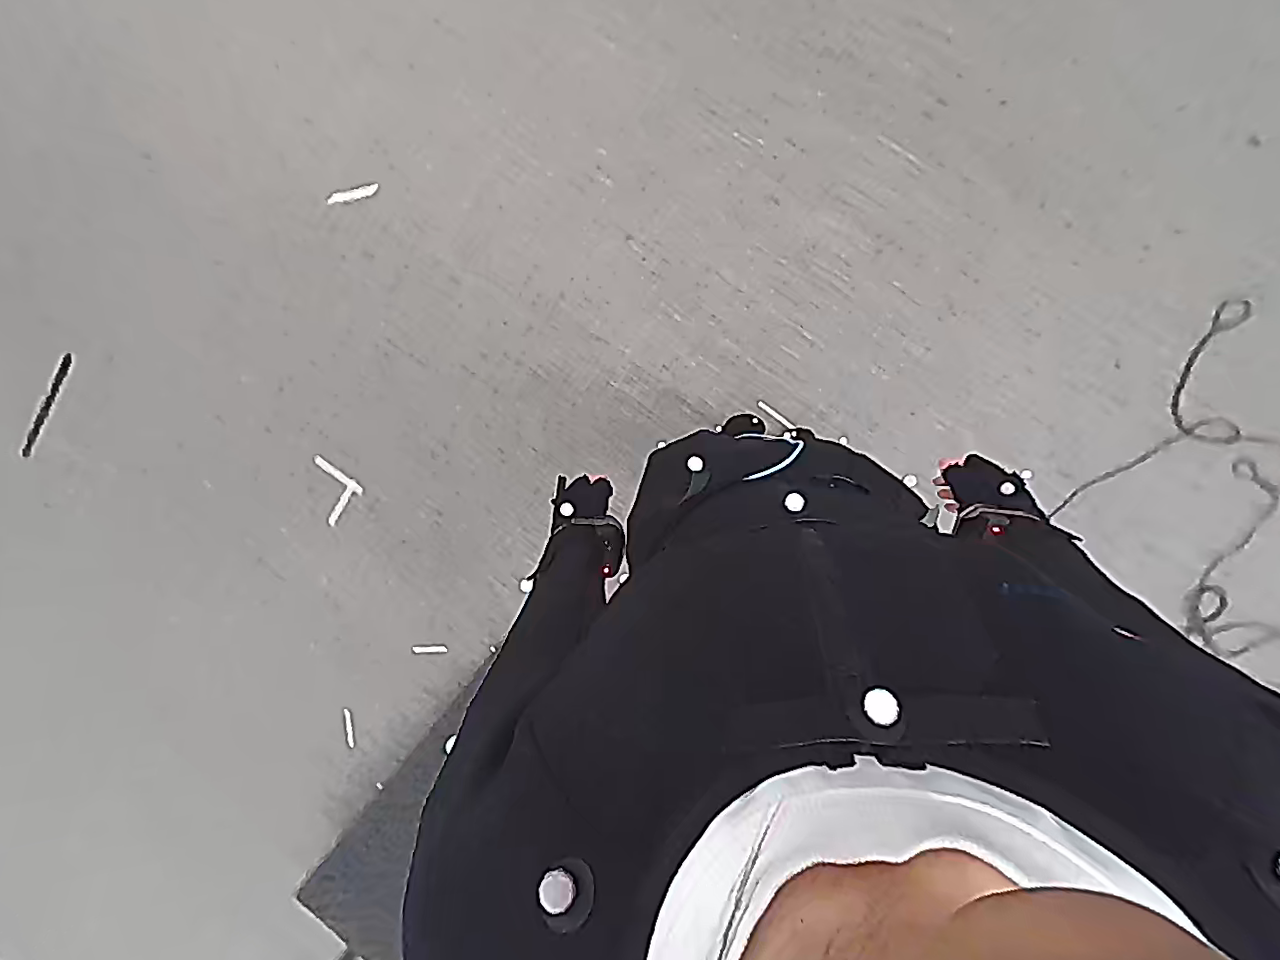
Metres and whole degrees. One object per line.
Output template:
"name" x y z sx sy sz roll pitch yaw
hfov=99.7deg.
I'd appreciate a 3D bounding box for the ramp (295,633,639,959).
"ramp" -0.498 0.969 1.560 0.509 0.206 0.991 38 99 4
